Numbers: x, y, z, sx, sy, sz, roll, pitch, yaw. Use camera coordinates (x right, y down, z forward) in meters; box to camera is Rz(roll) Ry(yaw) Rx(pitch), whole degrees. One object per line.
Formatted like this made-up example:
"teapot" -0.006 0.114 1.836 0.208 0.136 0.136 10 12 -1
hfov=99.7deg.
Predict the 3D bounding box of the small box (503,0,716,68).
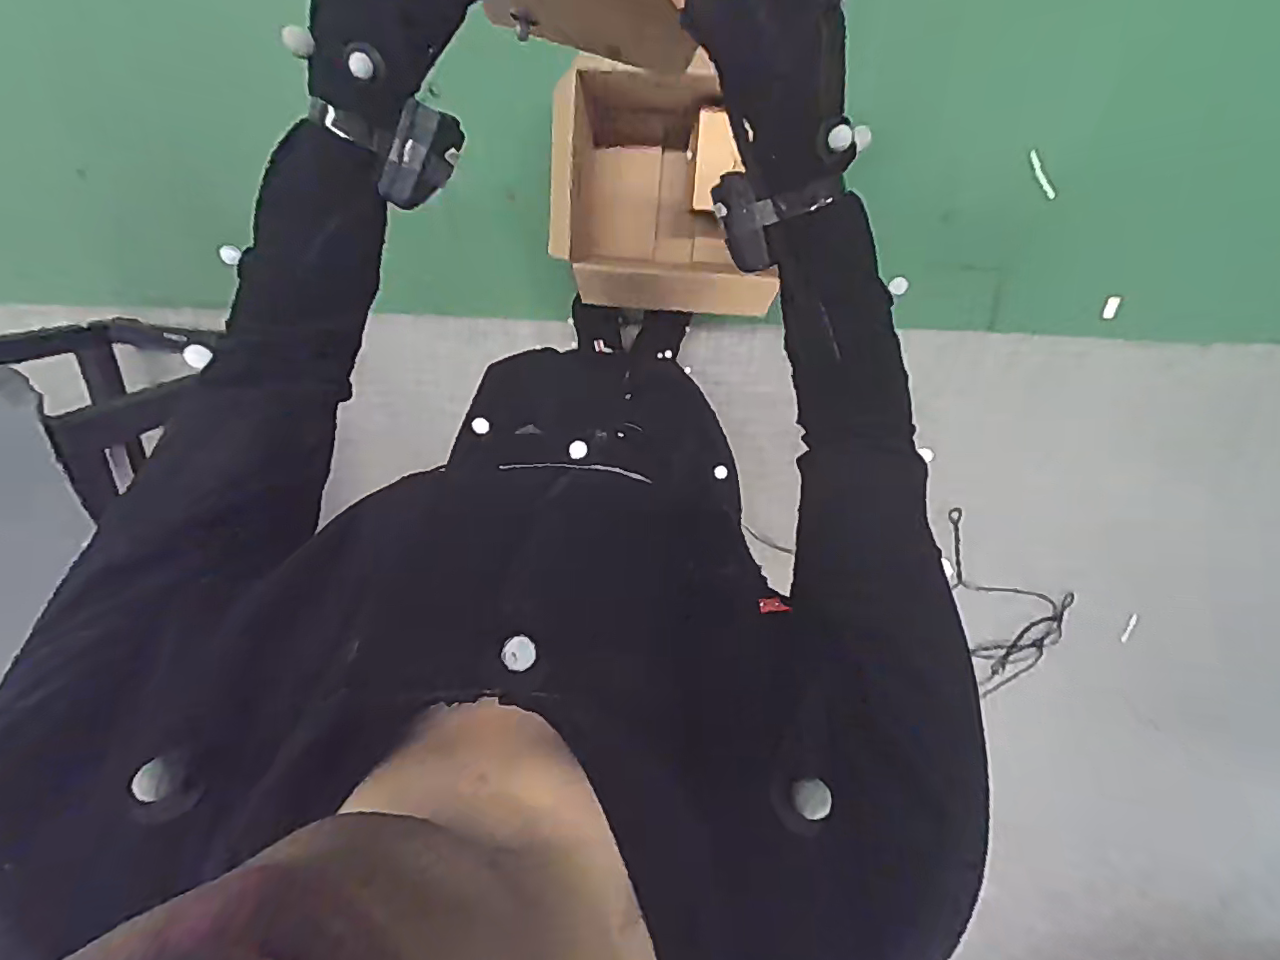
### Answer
"small box" -0.013 -0.407 0.343 0.168 0.176 0.179 10 107 -10
